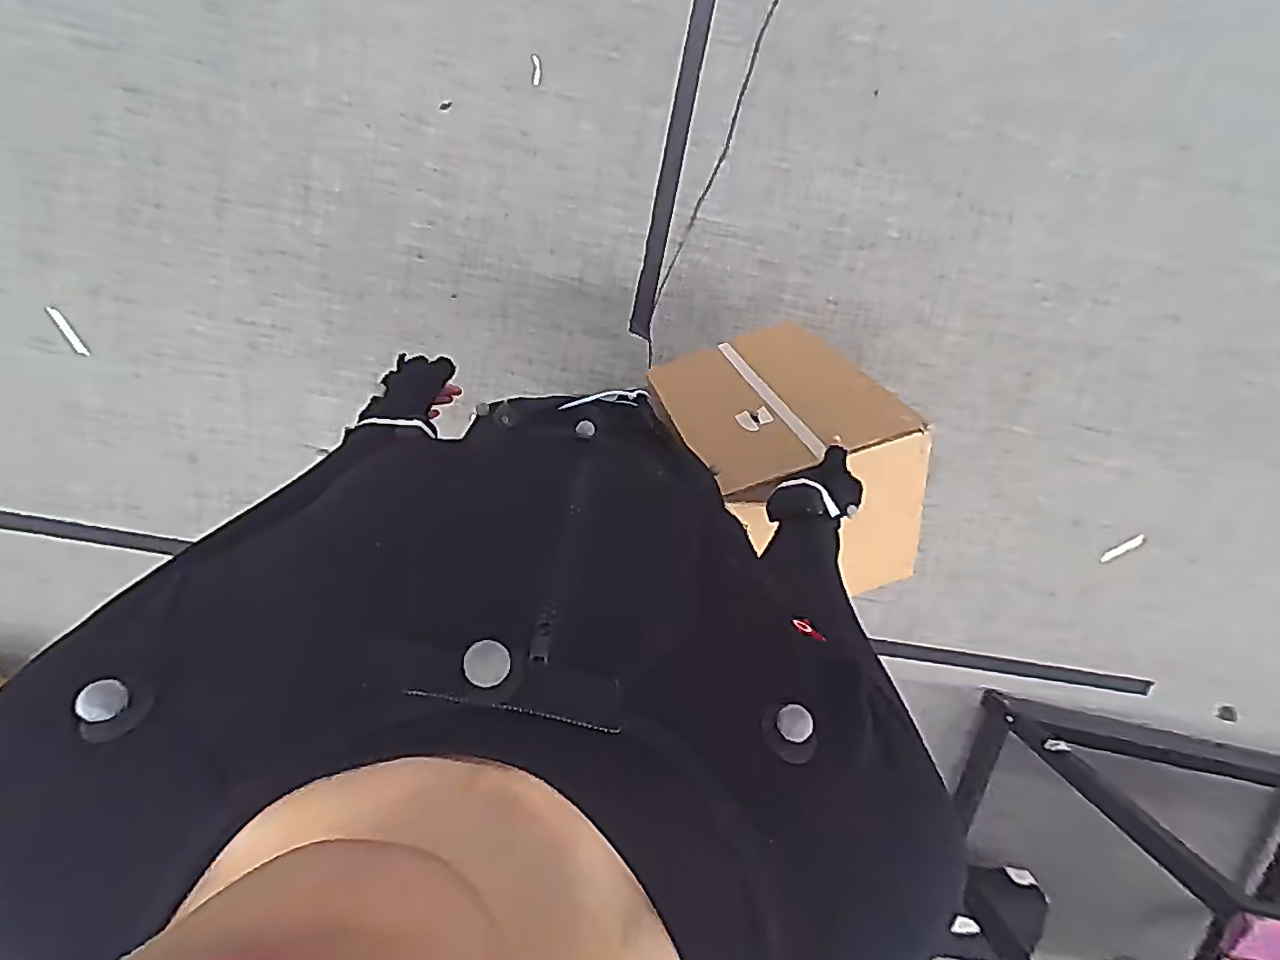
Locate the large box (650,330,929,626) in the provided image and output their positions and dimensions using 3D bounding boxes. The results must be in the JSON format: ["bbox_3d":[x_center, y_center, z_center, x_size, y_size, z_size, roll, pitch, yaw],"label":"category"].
[{"bbox_3d":[0.238,-0.020,0.982,0.320,0.408,0.320,-18,129,-2],"label":"large box"}]
